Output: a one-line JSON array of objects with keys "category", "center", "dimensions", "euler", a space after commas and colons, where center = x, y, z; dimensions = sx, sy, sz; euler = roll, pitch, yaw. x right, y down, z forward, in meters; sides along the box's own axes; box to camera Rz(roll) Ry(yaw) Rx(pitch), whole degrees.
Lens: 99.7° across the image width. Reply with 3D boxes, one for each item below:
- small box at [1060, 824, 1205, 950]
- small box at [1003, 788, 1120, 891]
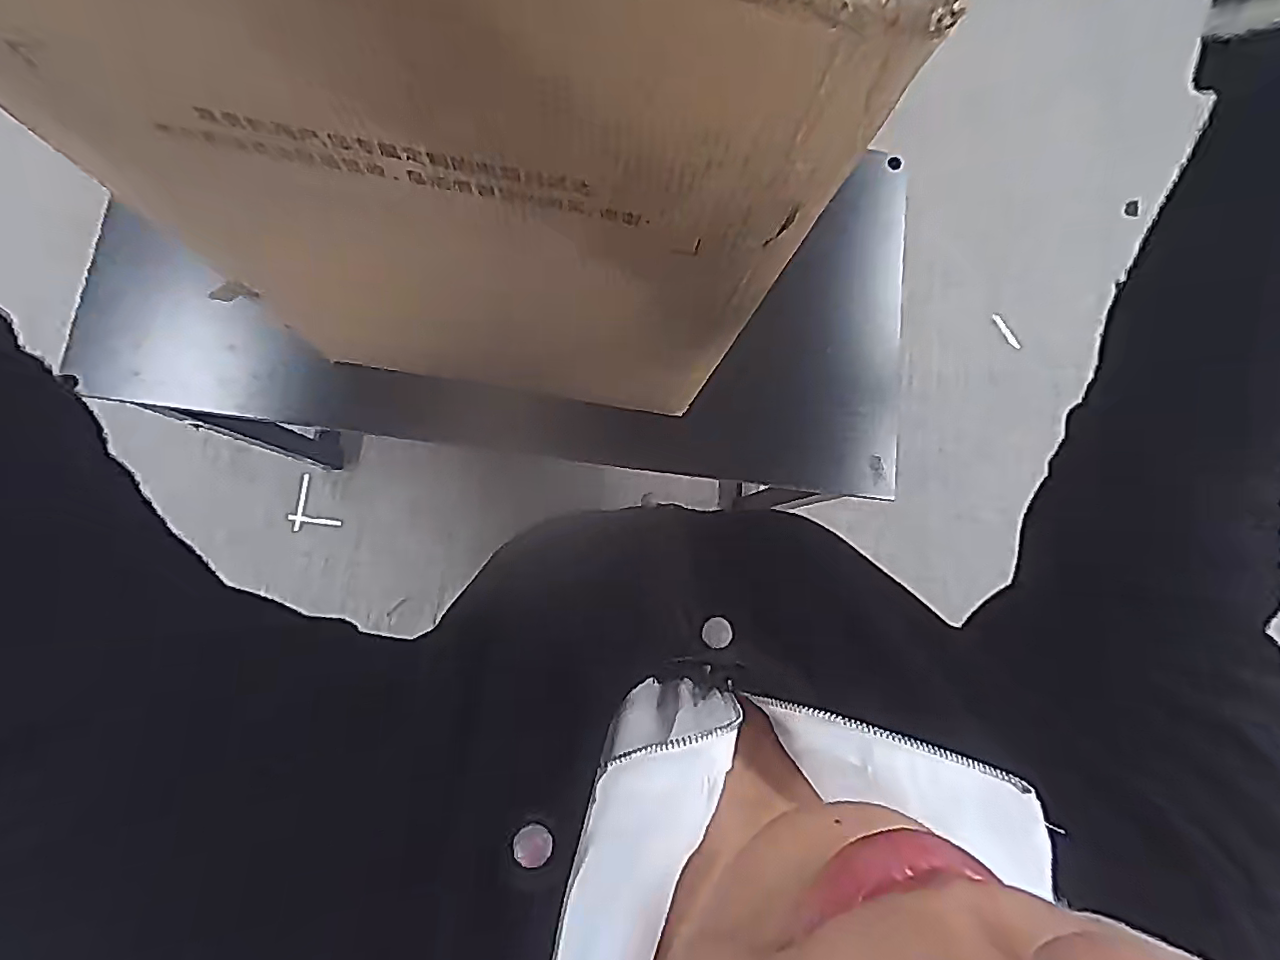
[{"category": "small box", "center": [1.085, 0.900, 1.211], "dimensions": [0.179, 0.176, 0.168], "euler": [0, 82, -6]}, {"category": "small box", "center": [1.071, 0.905, 1.375], "dimensions": [0.179, 0.176, 0.168], "euler": [1, 82, -5]}]
